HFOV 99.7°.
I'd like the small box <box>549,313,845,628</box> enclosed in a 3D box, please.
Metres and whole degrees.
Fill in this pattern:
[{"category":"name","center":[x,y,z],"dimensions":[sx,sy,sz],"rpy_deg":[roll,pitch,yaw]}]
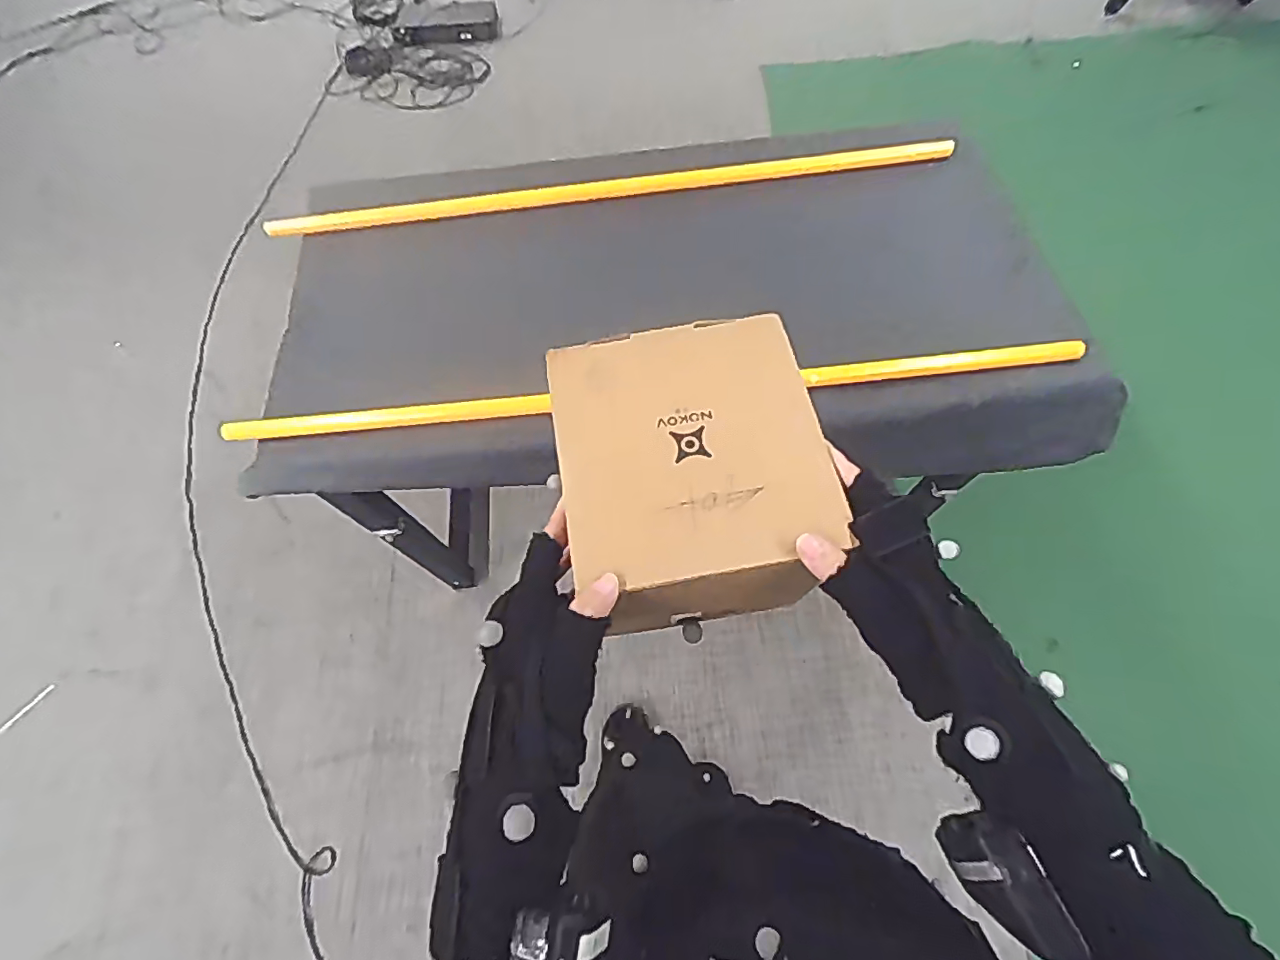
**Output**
[{"category":"small box","center":[0.030,0.003,0.421],"dimensions":[0.168,0.176,0.179],"rpy_deg":[-10,66,-2]}]
